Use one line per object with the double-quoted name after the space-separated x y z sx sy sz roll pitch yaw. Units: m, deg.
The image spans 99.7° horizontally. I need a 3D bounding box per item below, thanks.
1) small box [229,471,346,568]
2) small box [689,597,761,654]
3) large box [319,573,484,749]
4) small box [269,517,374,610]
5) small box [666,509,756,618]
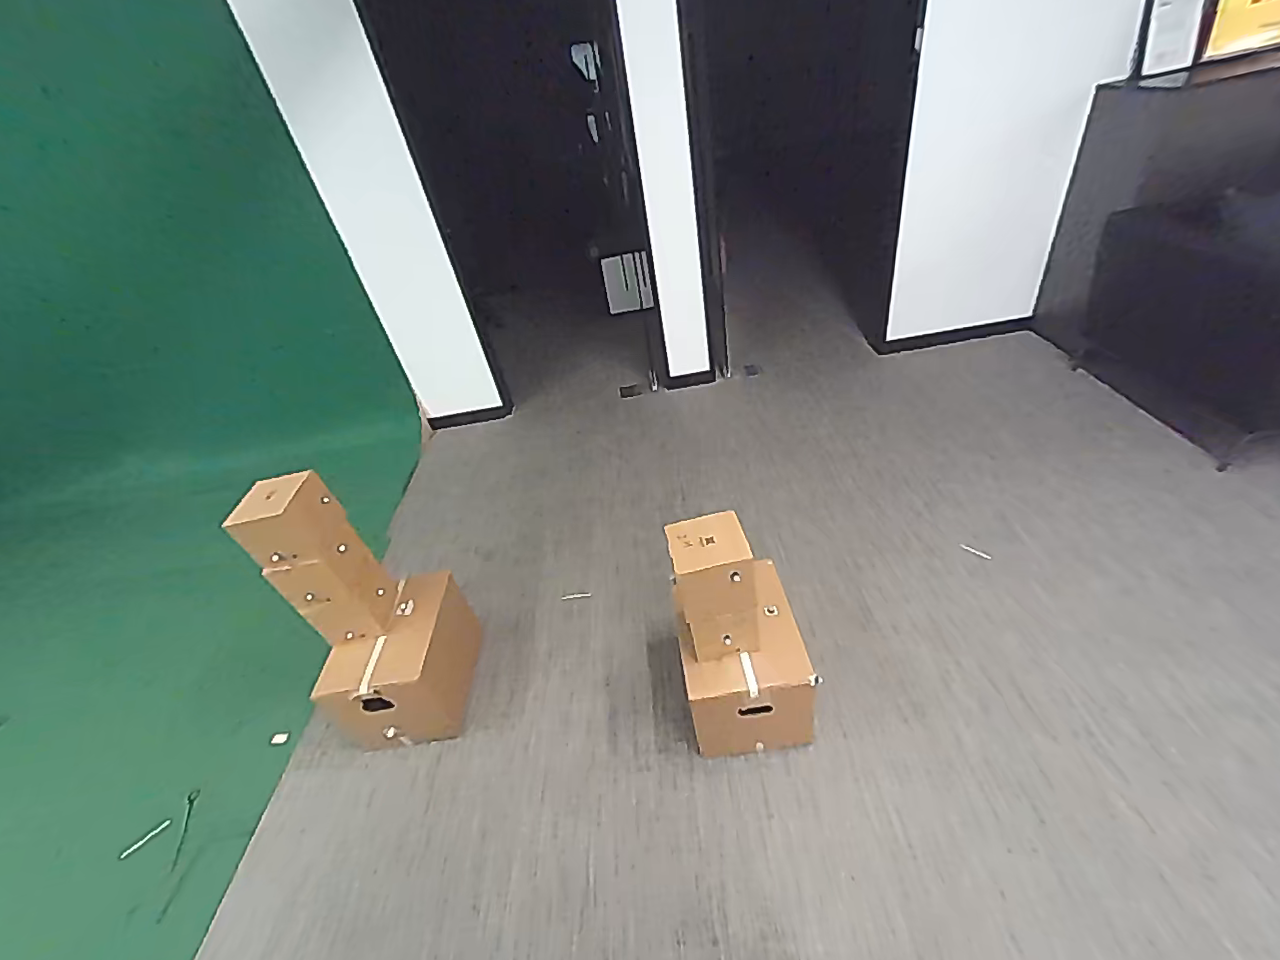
-0.915 0.106 1.427 0.168 0.176 0.179 -12 39 7 "small box"
0.204 0.322 1.379 0.168 0.176 0.179 -13 38 1 "small box"
-0.724 0.568 1.721 0.320 0.320 0.408 -11 37 3 "large box"
-0.884 0.235 1.522 0.168 0.176 0.179 -13 39 5 "small box"
0.170 0.197 1.275 0.179 0.176 0.168 -14 37 1 "small box"
